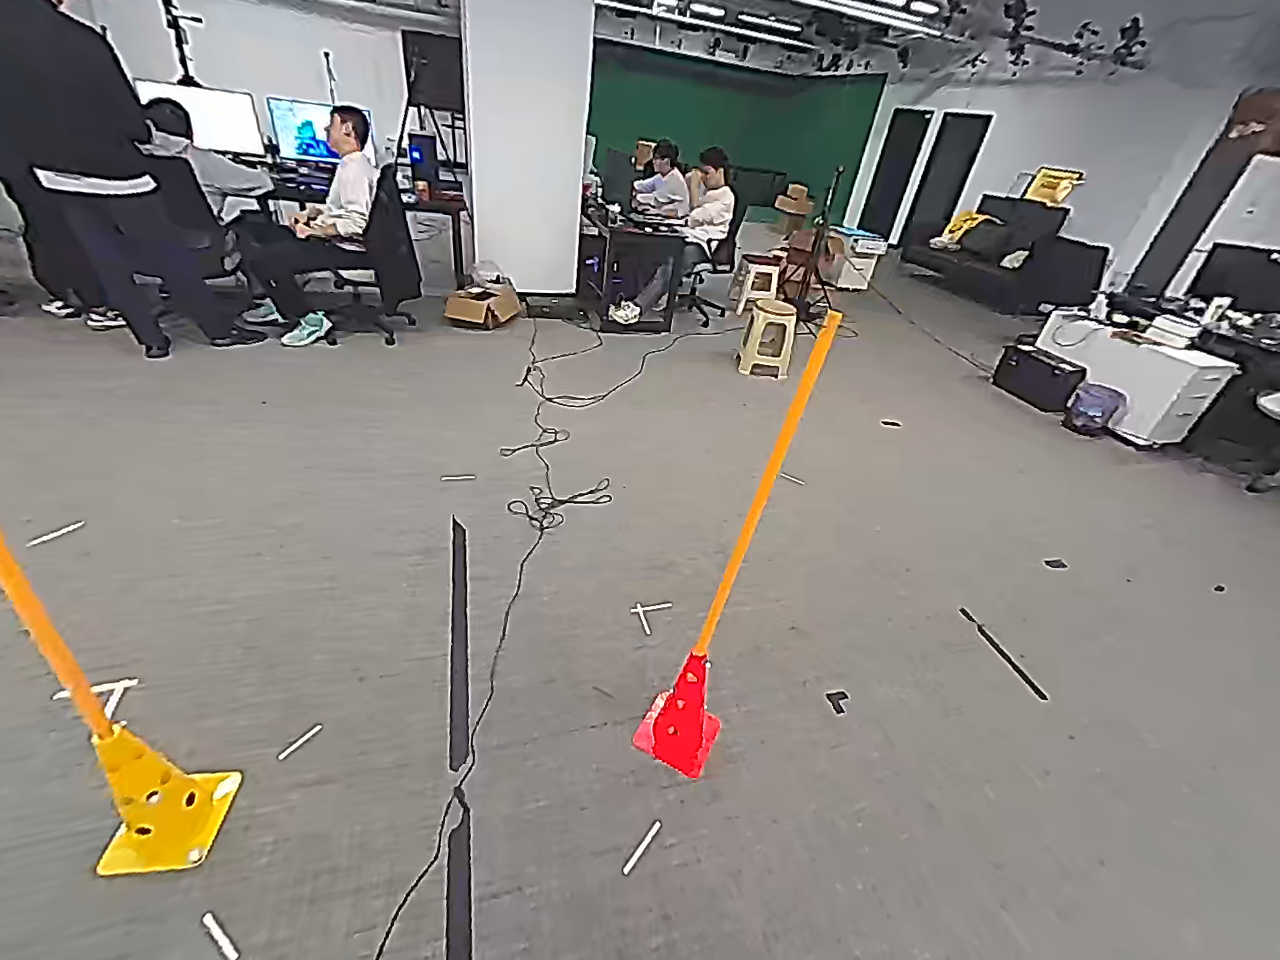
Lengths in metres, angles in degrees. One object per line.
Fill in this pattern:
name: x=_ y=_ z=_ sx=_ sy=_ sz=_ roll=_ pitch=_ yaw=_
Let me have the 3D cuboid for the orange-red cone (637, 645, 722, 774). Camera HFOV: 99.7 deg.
orange-red cone: x=0.131 y=0.564 z=1.424 sx=0.198 sy=0.360 sz=0.199 roll=22 pitch=37 yaw=21
